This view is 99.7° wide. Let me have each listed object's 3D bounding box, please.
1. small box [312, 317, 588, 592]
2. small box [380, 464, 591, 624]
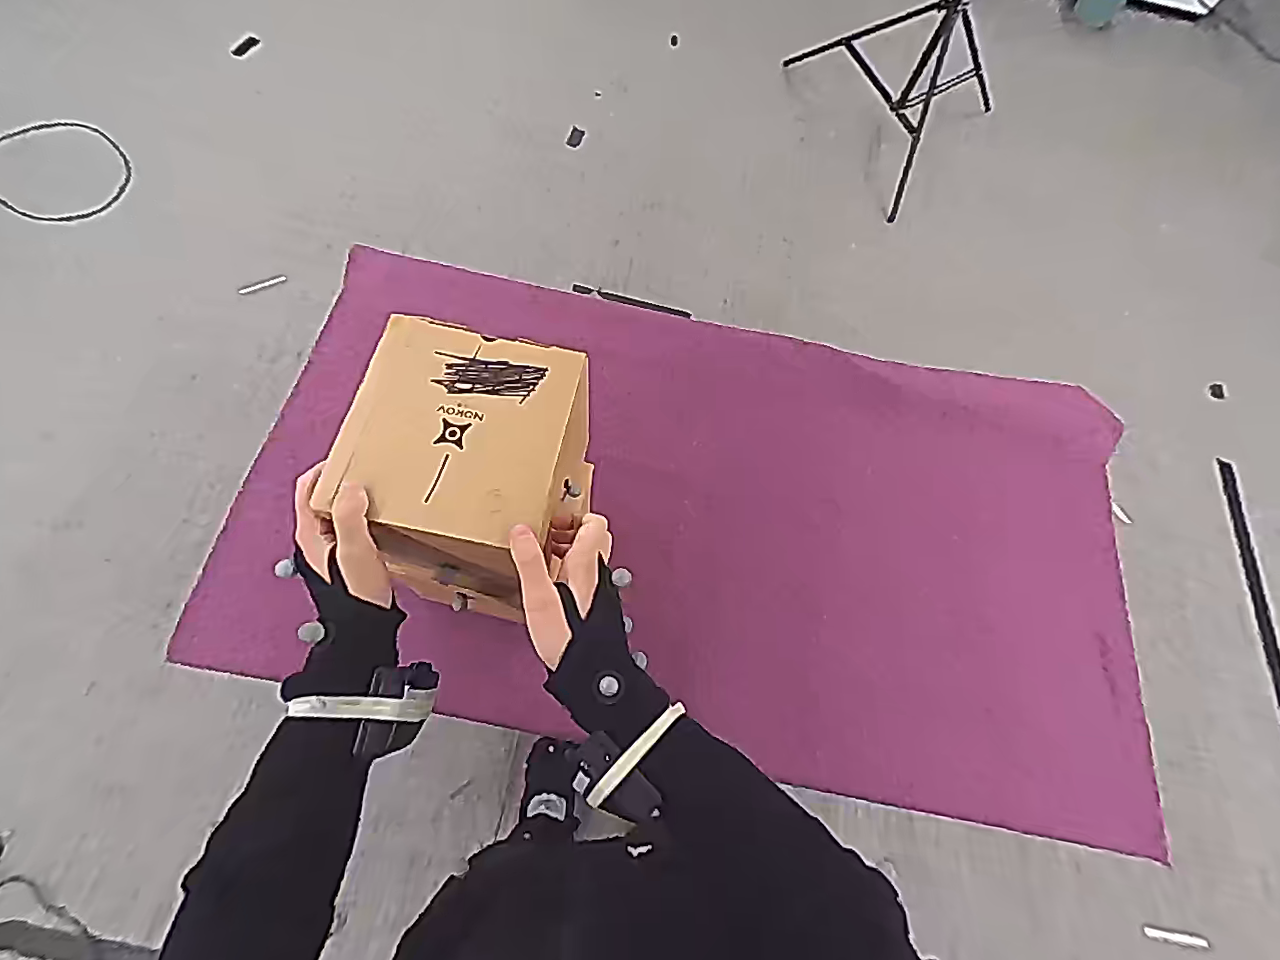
[{"bbox_3d":[-0.147,-0.011,0.491,0.168,0.176,0.179,12,68,-1],"label":"small box"},{"bbox_3d":[-0.163,0.065,0.636,0.179,0.176,0.168,14,68,0],"label":"small box"}]
